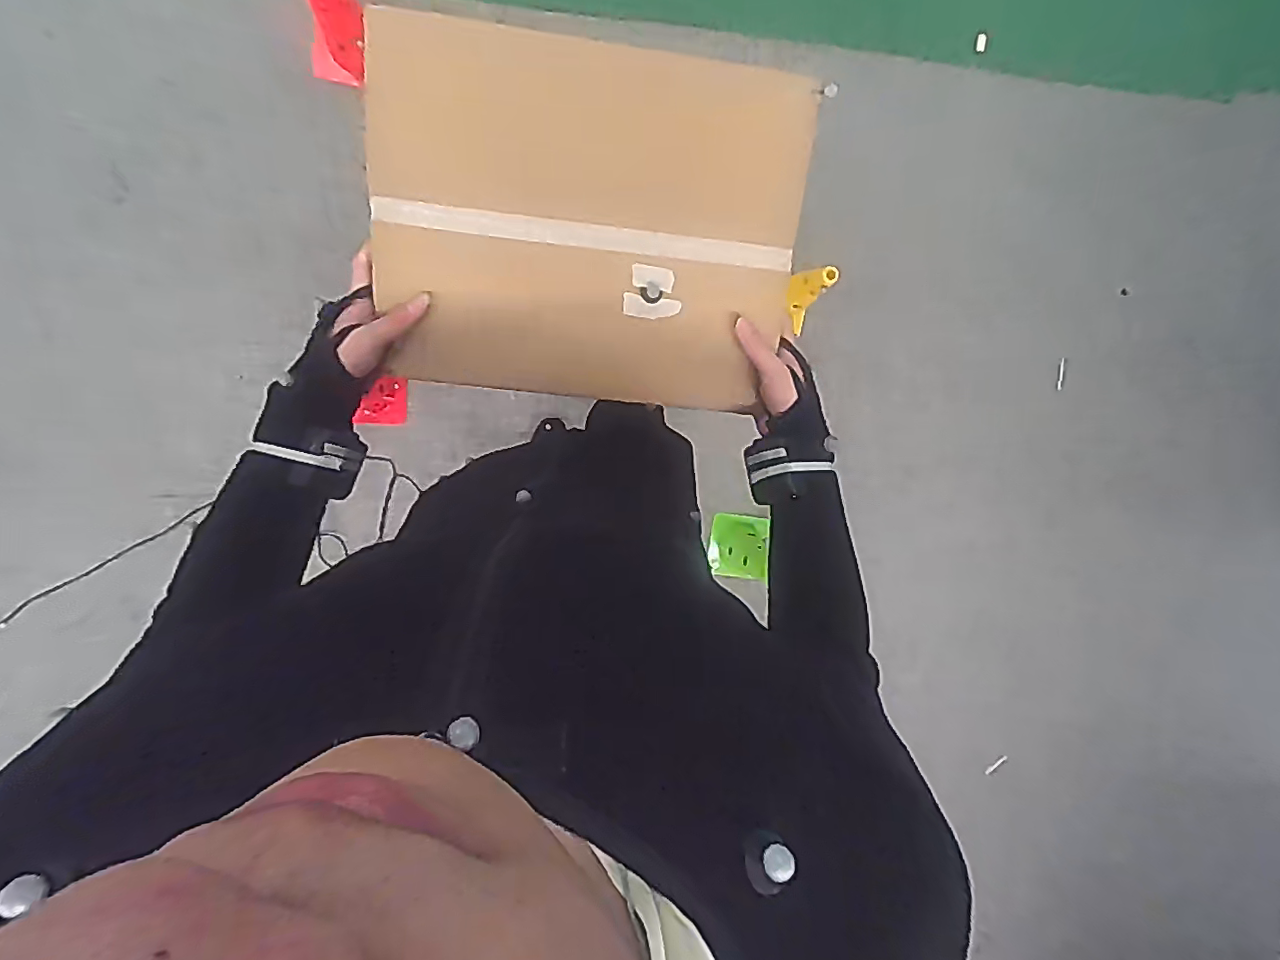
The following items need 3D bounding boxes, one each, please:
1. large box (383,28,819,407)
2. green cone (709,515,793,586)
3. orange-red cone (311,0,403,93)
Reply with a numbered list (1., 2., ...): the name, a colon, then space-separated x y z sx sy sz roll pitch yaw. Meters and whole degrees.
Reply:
1. large box: -0.053 -0.282 0.673 0.408 0.320 0.320 5 108 -6
2. green cone: 0.349 0.235 1.549 0.200 0.368 0.202 7 96 -9
3. orange-red cone: -0.700 -1.091 1.218 0.199 0.360 0.198 9 96 -8
